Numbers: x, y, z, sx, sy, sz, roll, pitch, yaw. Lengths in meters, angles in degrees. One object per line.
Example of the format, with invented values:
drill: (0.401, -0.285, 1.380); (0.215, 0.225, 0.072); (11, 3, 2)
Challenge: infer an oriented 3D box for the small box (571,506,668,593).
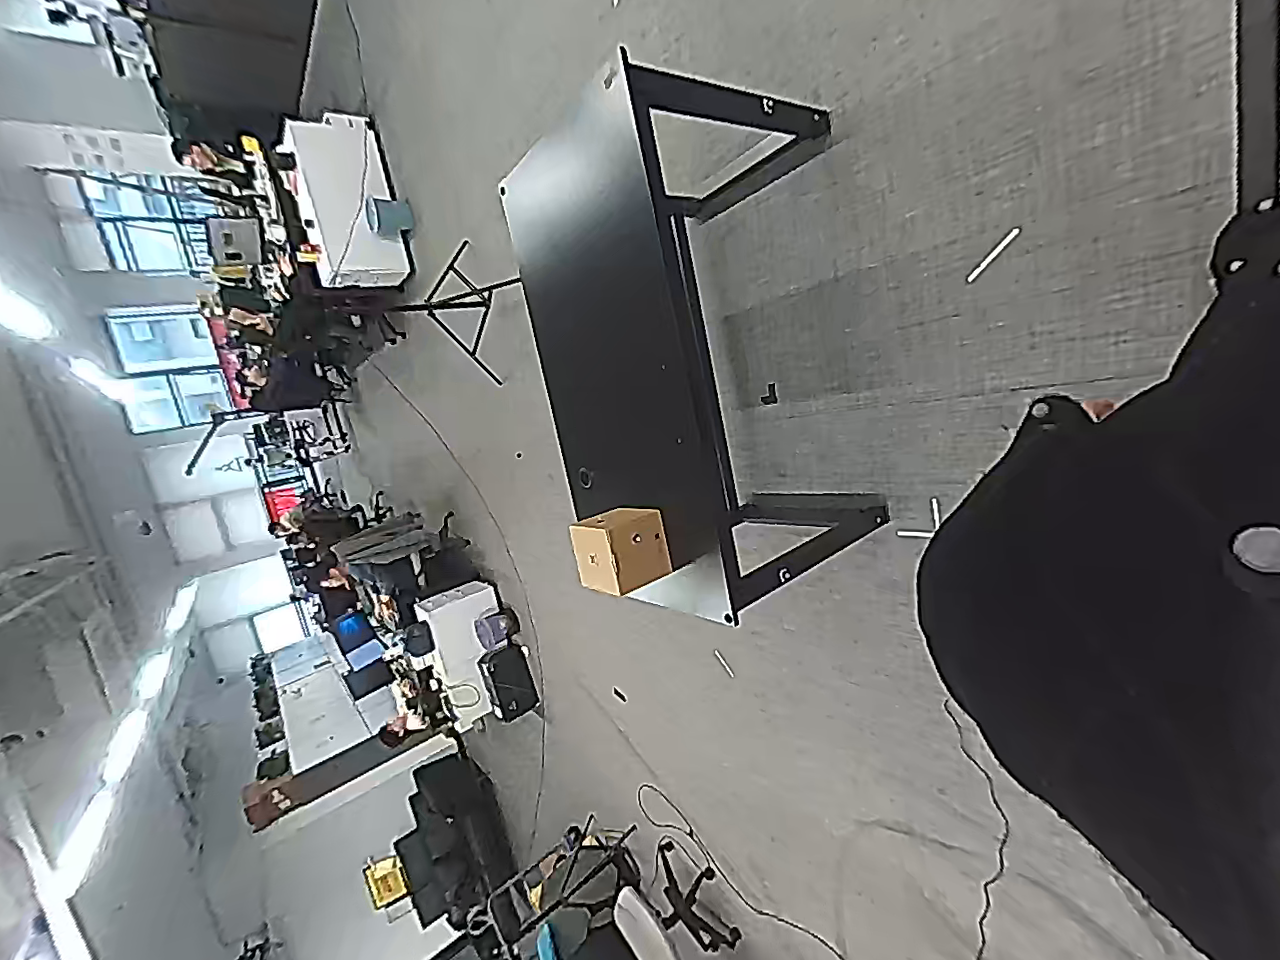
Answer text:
small box: (-0.046, 0.167, 1.356); (0.179, 0.176, 0.168); (-1, 103, 54)
